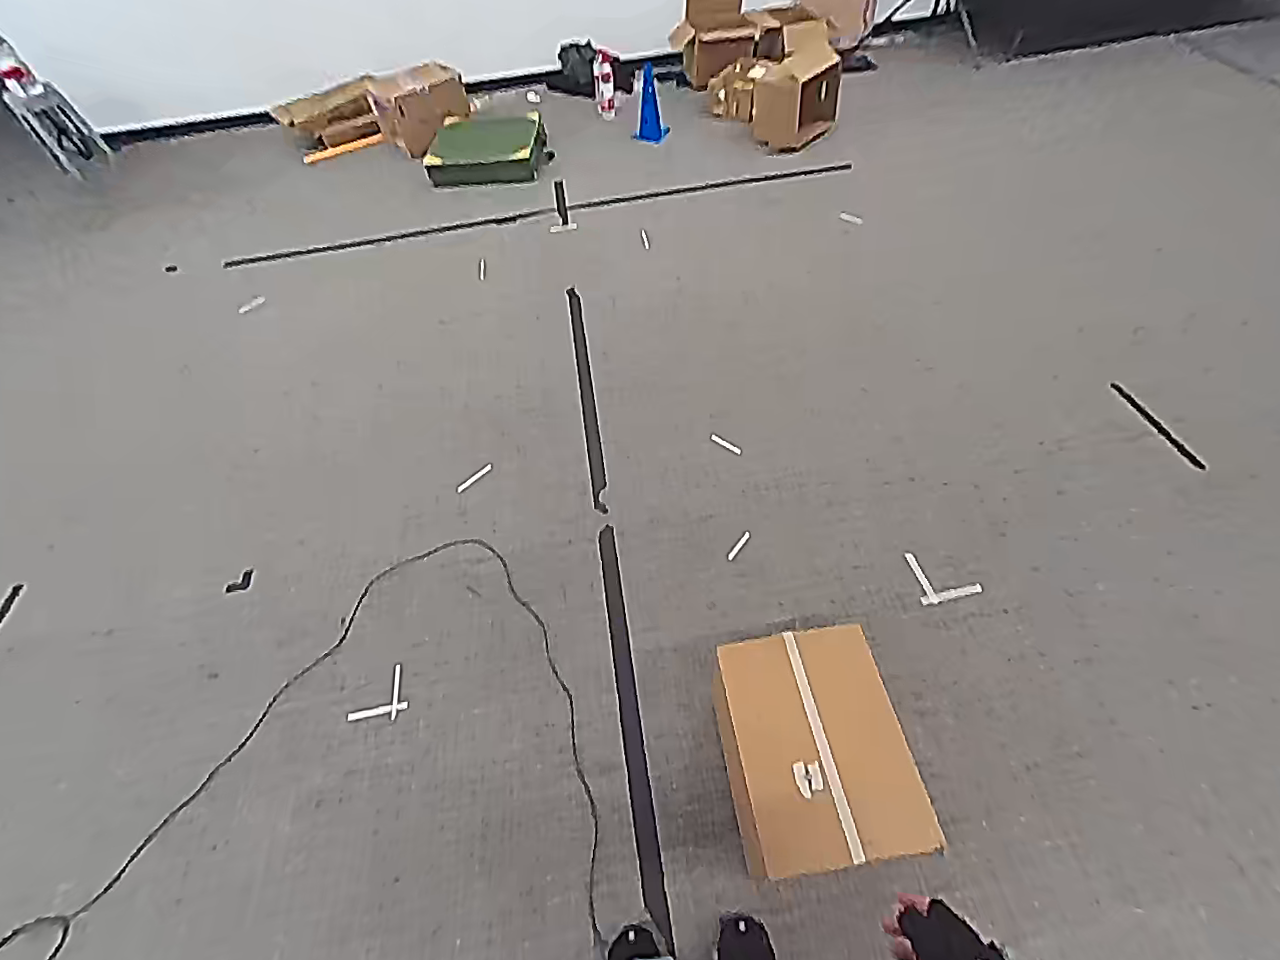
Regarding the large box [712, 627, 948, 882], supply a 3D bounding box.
[{"bbox_3d":[0.354,0.577,1.148,0.320,0.320,0.408,-10,54,-1],"label":"large box"}]
